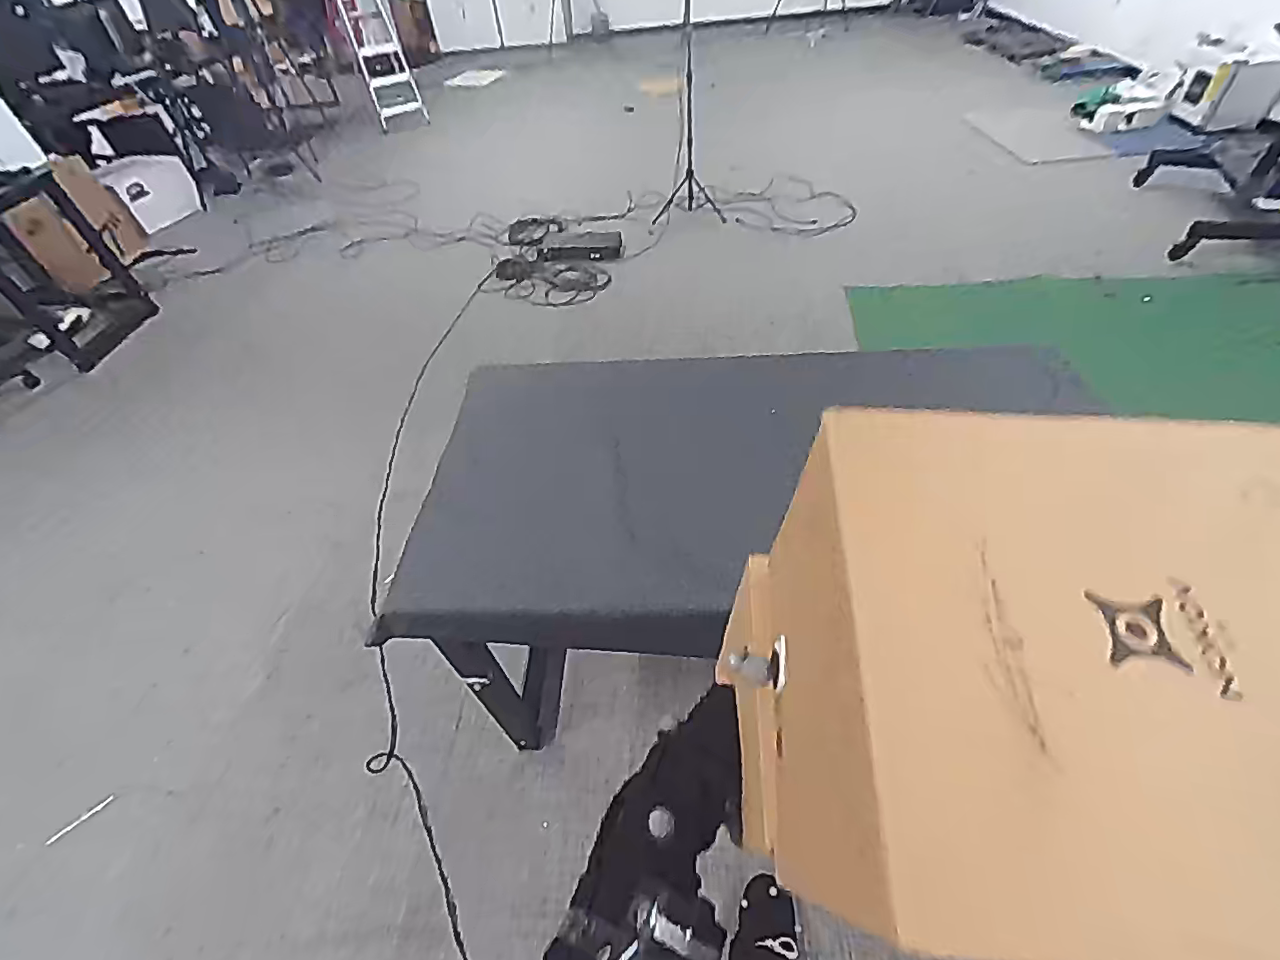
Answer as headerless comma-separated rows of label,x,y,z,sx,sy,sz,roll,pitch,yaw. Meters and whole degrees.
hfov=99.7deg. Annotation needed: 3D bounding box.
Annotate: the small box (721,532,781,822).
small box,0.156,0.152,0.387,0.179,0.176,0.168,2,57,3
